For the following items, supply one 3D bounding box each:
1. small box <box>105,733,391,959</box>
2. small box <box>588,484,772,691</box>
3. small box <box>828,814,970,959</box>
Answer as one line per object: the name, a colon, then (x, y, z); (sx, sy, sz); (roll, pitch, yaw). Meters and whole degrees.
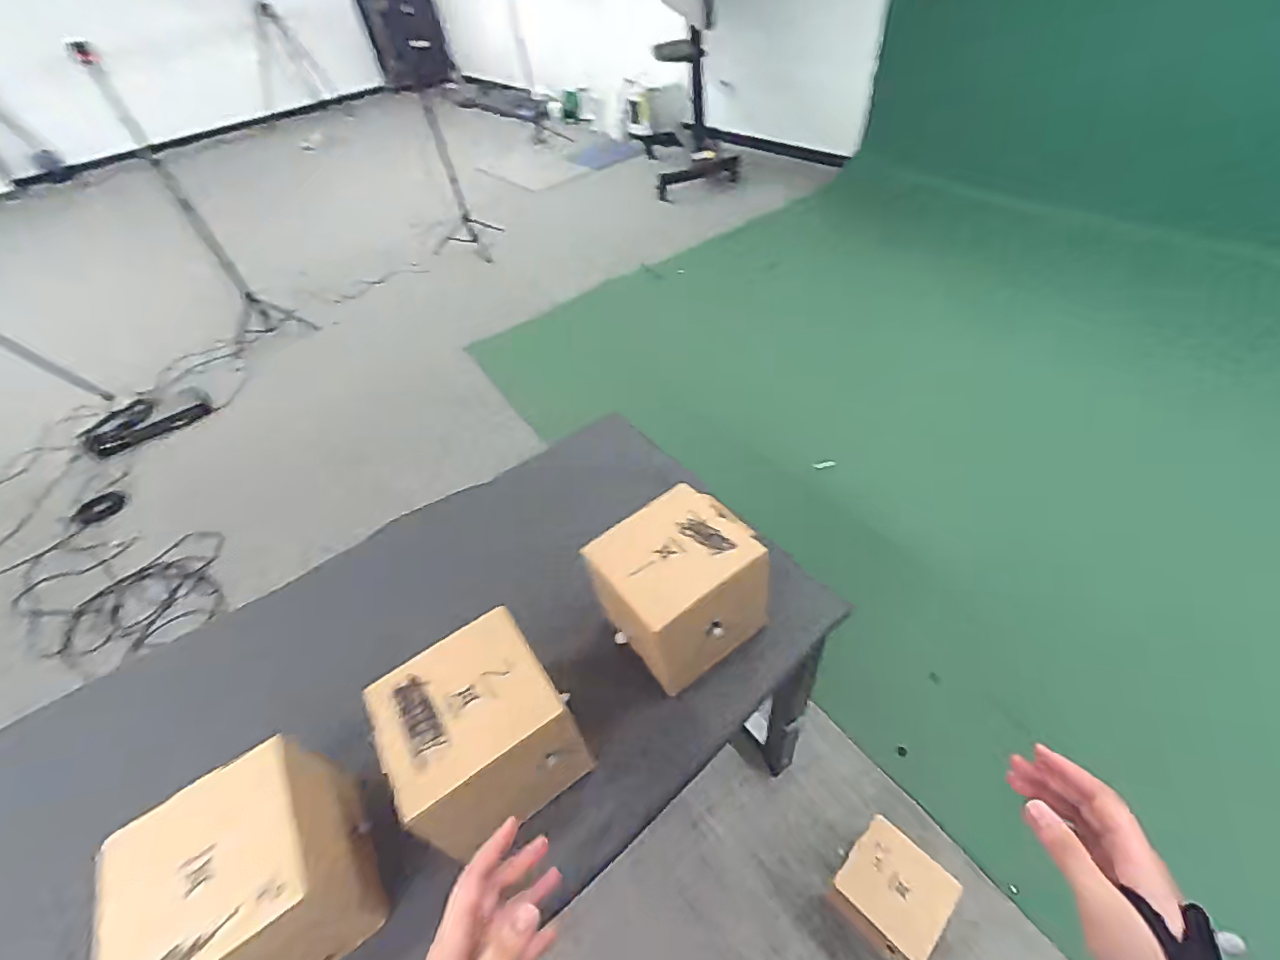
small box: (-0.390, 0.411, 0.560); (0.168, 0.176, 0.179); (-31, 48, -17)
small box: (0.057, 0.144, 0.732); (0.179, 0.176, 0.168); (-32, 46, -17)
small box: (0.495, 0.802, 1.056); (0.168, 0.176, 0.179); (-38, 53, -25)
